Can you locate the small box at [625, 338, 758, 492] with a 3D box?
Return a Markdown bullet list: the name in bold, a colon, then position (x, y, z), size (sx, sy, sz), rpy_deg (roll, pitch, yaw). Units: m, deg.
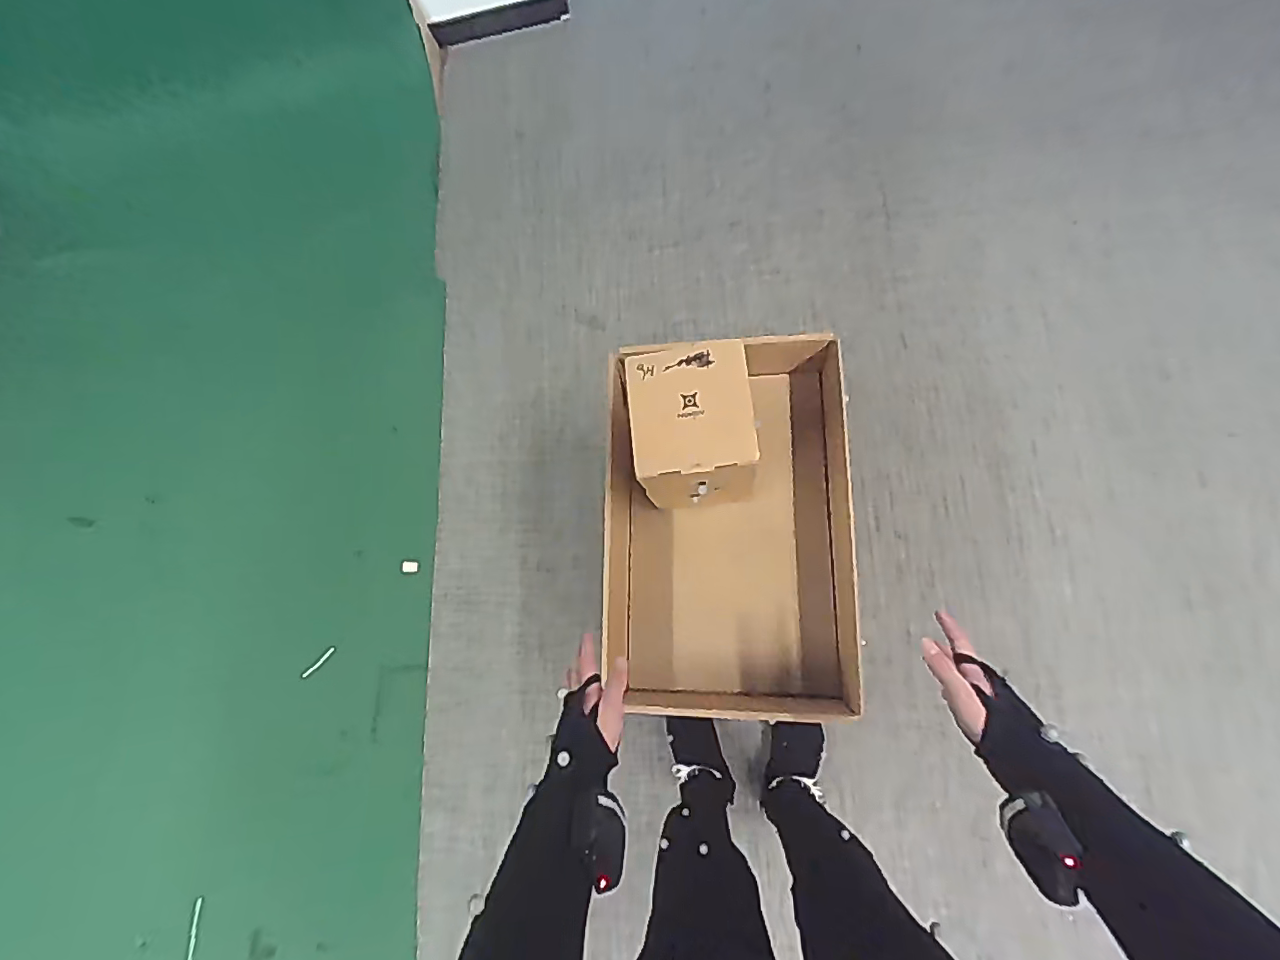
- **small box**: position (0.080, -0.082, 0.789), size (0.168, 0.176, 0.179), rpy_deg (-7, 79, 9)
